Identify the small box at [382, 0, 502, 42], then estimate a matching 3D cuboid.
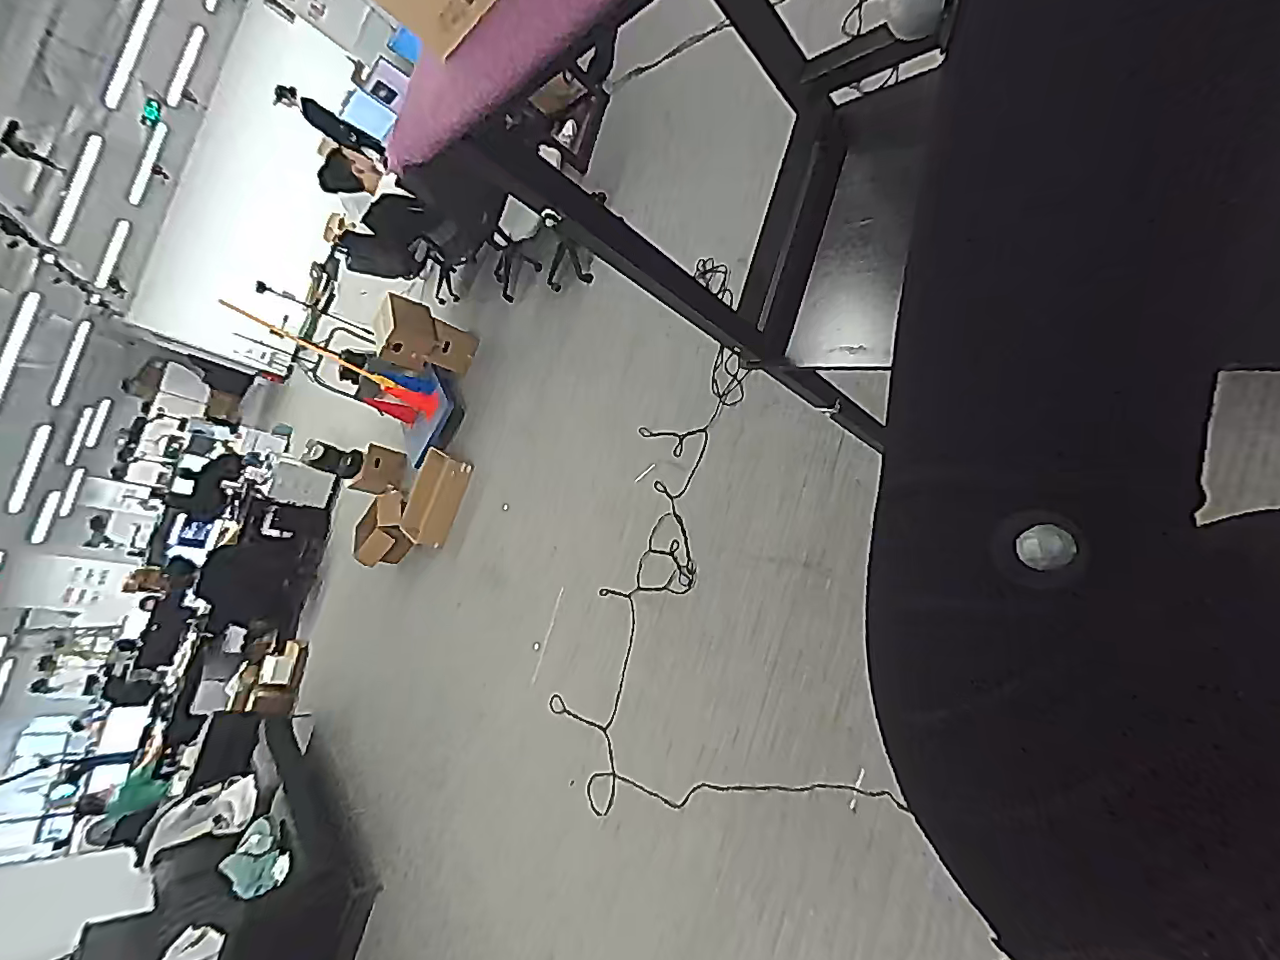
[{"bbox_3d":[-0.189,-0.547,0.482,0.168,0.176,0.179,12,84,47],"label":"small box"}]
